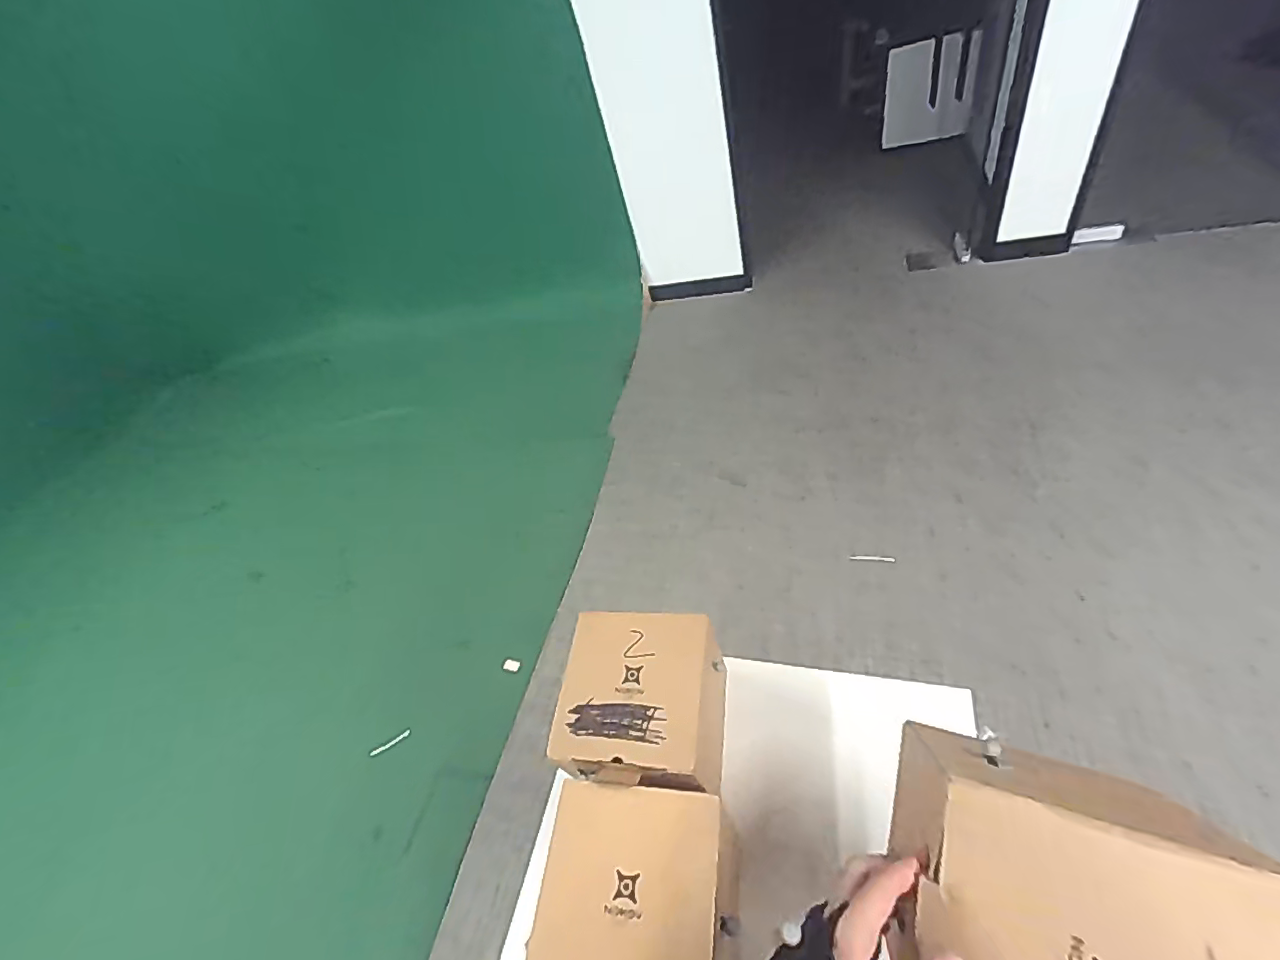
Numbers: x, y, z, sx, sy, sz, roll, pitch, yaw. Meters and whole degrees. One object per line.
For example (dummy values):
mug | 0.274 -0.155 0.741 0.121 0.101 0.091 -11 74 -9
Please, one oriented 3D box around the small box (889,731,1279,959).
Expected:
small box | 0.276 0.287 0.362 0.179 0.176 0.168 7 82 18
